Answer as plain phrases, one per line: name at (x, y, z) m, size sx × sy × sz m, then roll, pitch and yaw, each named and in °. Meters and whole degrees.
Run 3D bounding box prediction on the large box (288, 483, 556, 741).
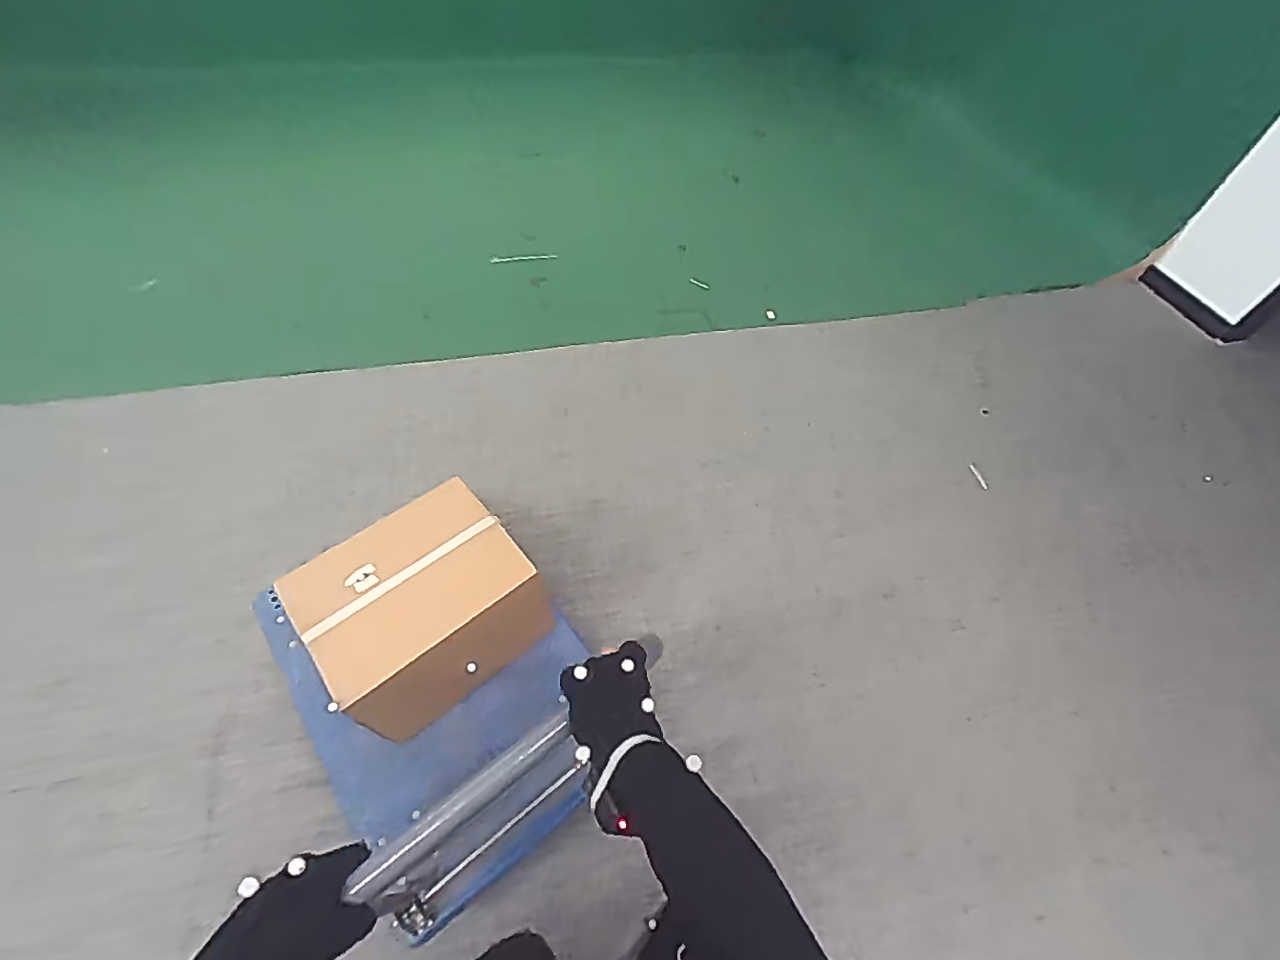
large box at (-0.446, 0.287, 1.192) m, size 0.408 × 0.320 × 0.320 m, roll -35°, pitch 61°, yaw -23°
